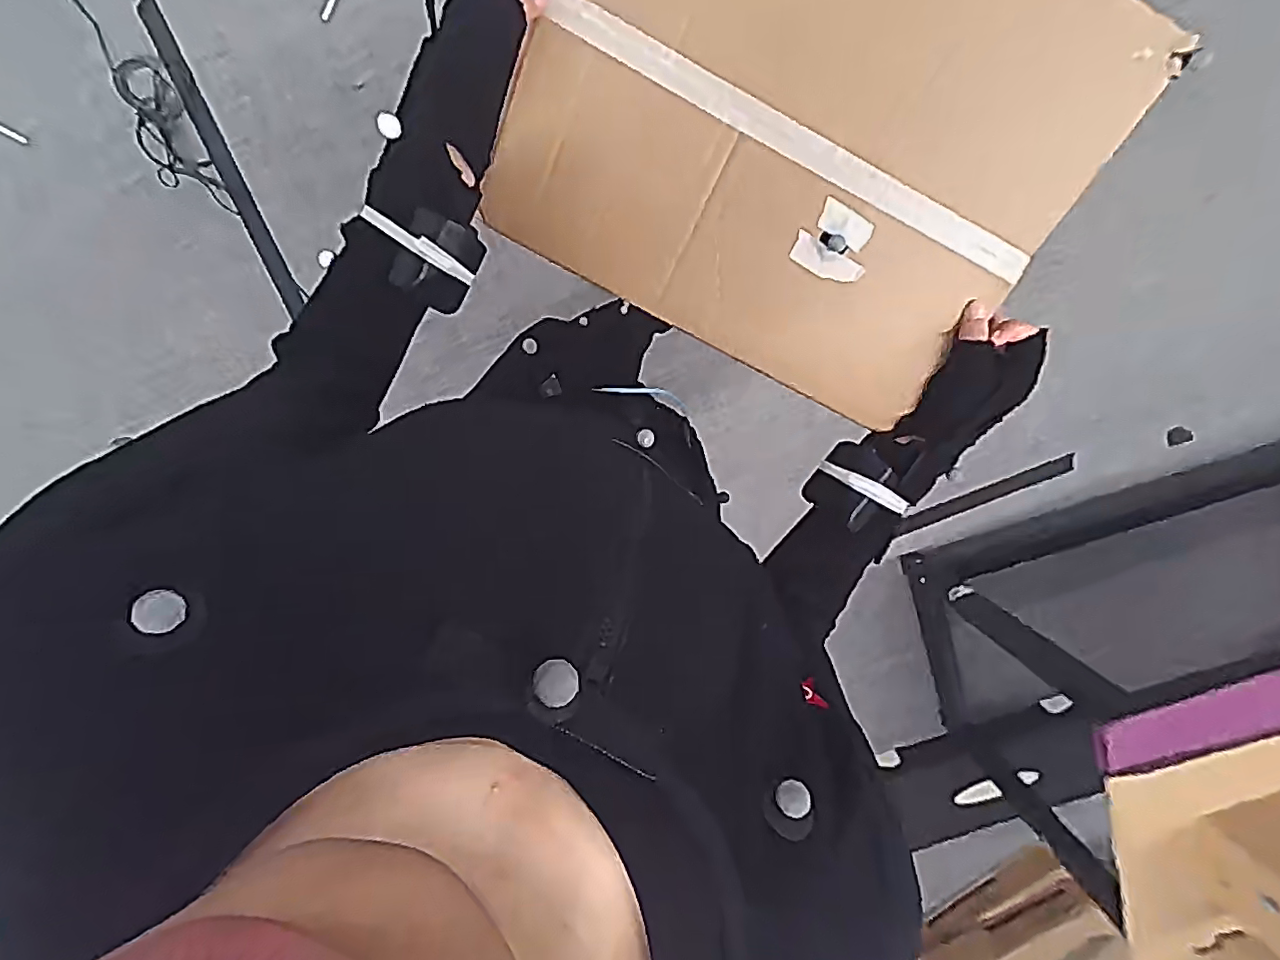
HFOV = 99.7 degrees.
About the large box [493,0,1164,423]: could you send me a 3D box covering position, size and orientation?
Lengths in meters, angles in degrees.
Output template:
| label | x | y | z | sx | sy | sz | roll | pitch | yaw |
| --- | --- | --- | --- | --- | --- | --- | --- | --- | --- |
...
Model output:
| label | x | y | z | sx | sy | sz | roll | pitch | yaw |
| --- | --- | --- | --- | --- | --- | --- | --- | --- | --- |
| large box | 0.129 | -0.317 | 0.543 | 0.408 | 0.320 | 0.320 | 26 | 116 | -7 |
